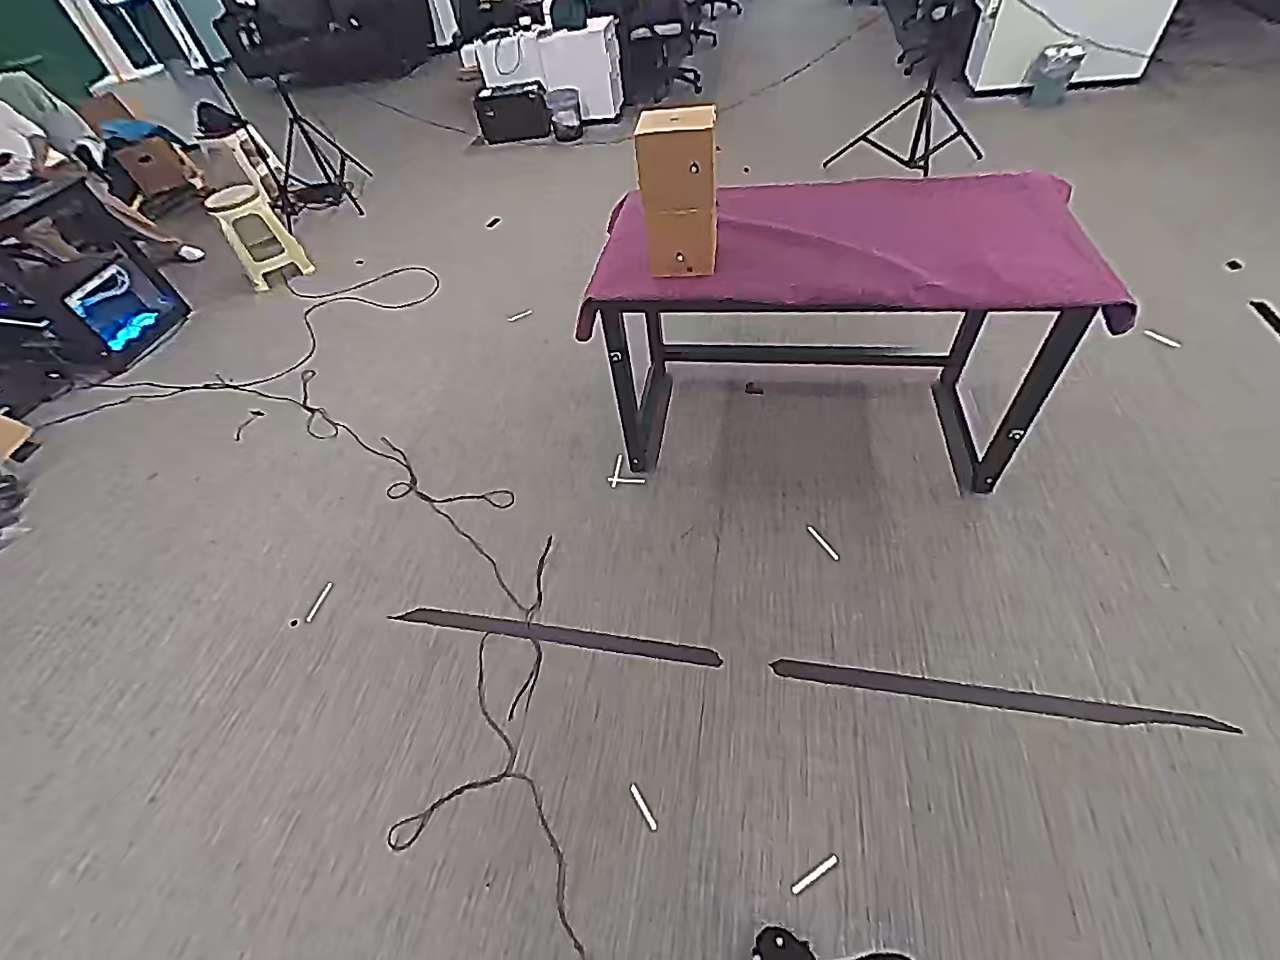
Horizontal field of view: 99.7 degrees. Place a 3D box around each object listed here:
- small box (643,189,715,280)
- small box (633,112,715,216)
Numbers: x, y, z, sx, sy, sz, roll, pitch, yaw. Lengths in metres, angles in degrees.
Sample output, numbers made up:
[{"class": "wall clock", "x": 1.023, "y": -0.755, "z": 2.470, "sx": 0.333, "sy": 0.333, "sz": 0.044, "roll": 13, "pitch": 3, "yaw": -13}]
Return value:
[{"class": "small box", "x": 0.107, "y": -0.640, "z": 1.405, "sx": 0.168, "sy": 0.176, "sz": 0.179, "roll": 1, "pitch": 50, "yaw": 10}, {"class": "small box", "x": 0.087, "y": -0.746, "z": 1.283, "sx": 0.179, "sy": 0.176, "sz": 0.168, "roll": 0, "pitch": 48, "yaw": 10}]
